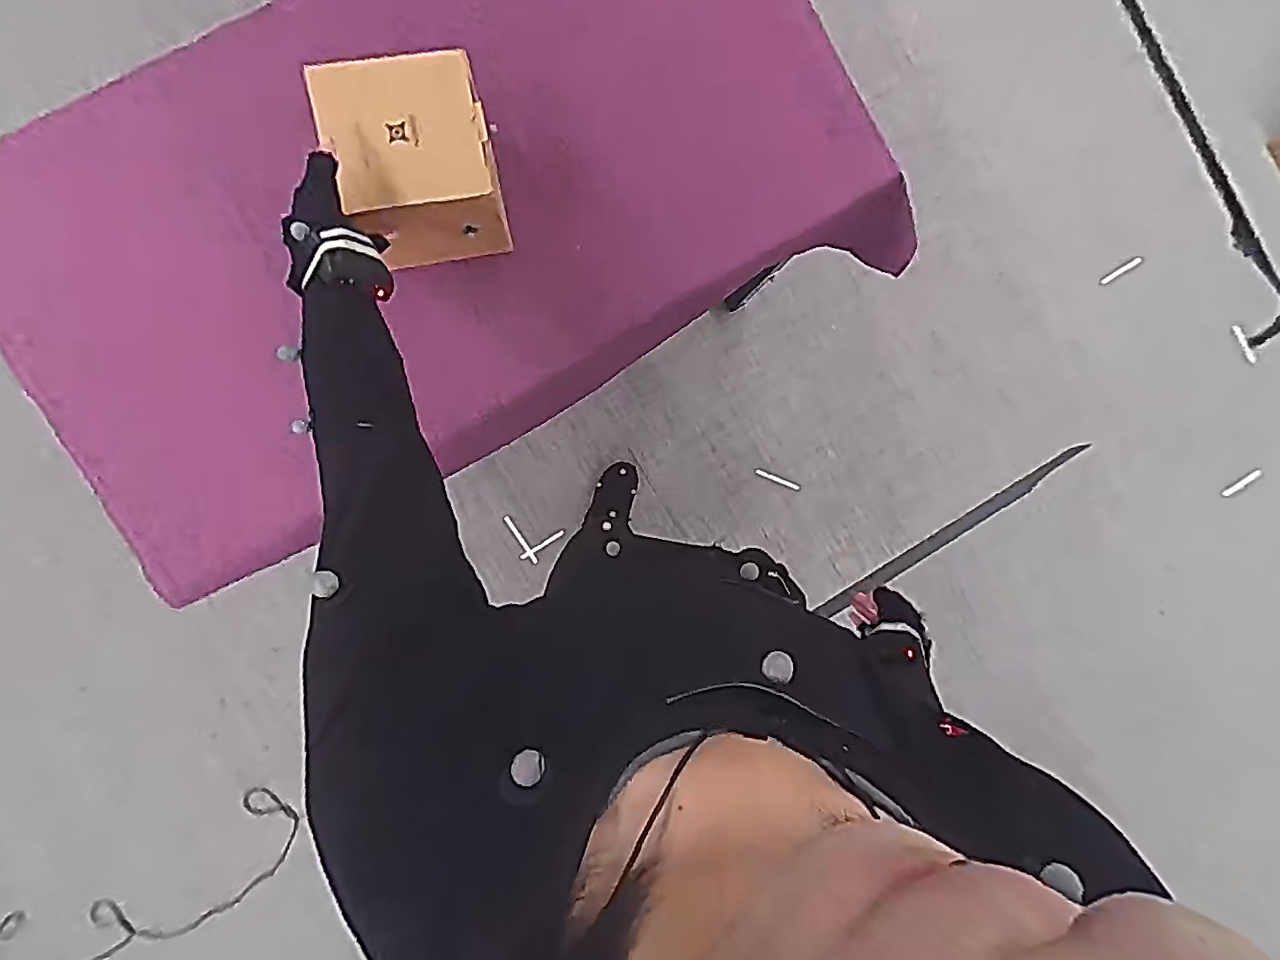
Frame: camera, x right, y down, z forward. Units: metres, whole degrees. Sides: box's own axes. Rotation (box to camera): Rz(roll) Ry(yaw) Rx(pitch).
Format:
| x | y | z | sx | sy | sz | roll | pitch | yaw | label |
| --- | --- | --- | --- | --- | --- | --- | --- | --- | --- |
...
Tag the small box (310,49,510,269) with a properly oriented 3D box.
| x | y | z | sx | sy | sz | roll | pitch | yaw | label |
| --- | --- | --- | --- | --- | --- | --- | --- | --- | --- |
| -0.269 | -0.387 | 0.681 | 0.179 | 0.176 | 0.168 | -12 | 91 | -4 | small box |
